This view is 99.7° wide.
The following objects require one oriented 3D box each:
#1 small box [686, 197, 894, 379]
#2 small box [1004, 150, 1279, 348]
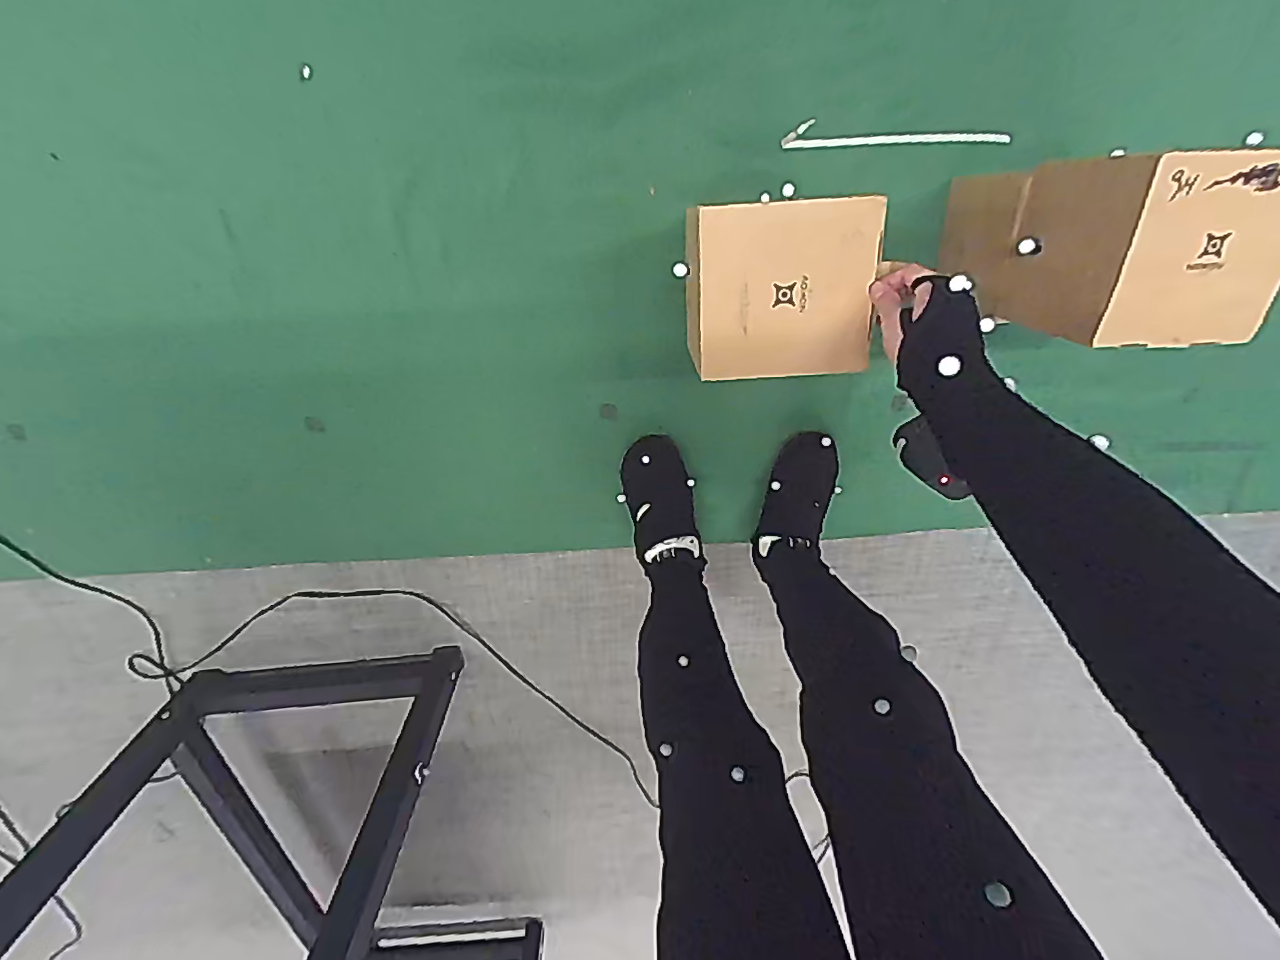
[{"bbox_3d":[0.146,-0.217,0.595,0.179,0.176,0.168,-3,116,1],"label":"small box"},{"bbox_3d":[0.537,-0.251,0.582,0.168,0.176,0.179,-1,119,-2],"label":"small box"}]
